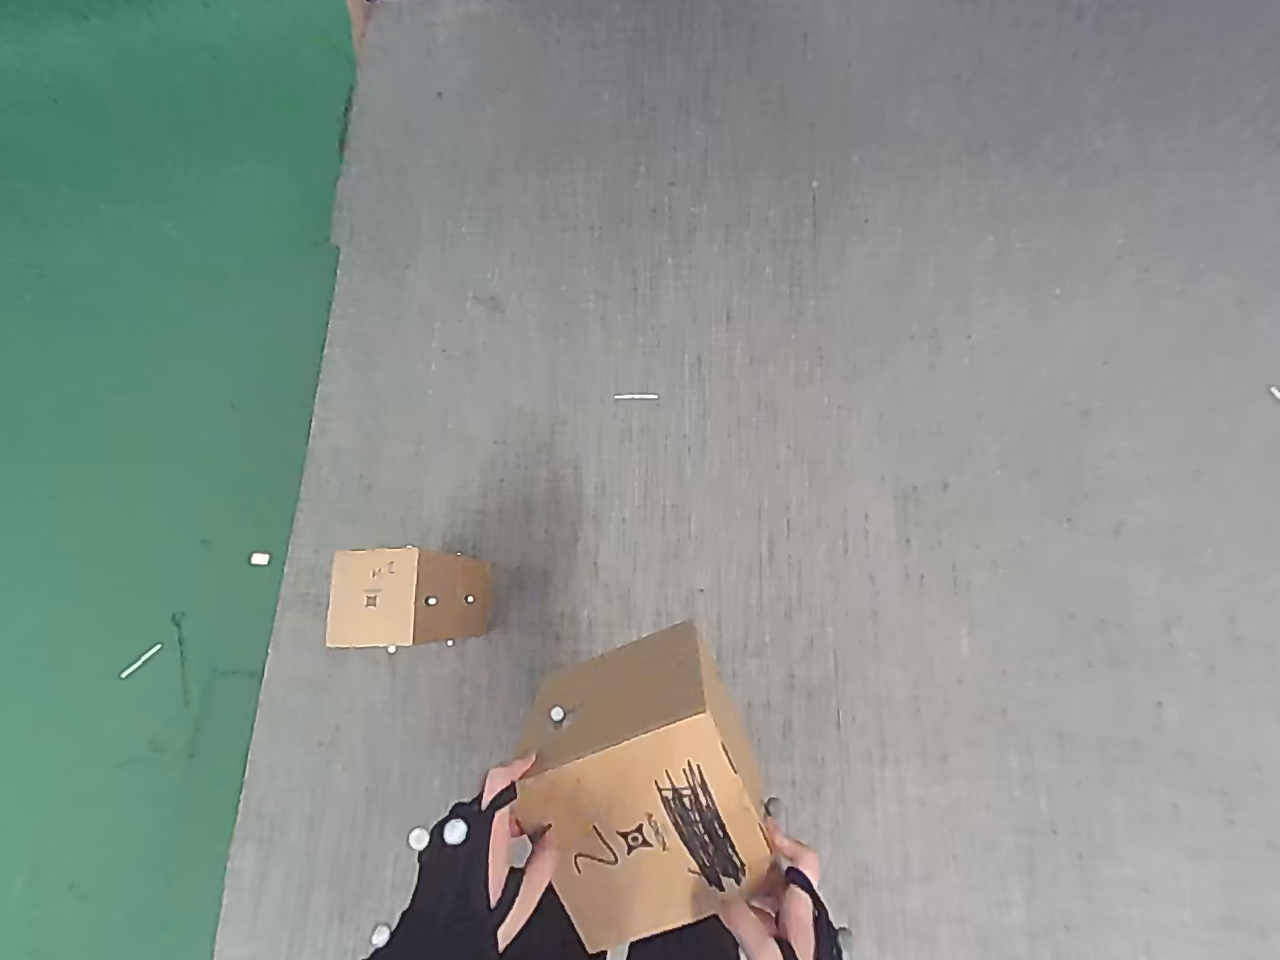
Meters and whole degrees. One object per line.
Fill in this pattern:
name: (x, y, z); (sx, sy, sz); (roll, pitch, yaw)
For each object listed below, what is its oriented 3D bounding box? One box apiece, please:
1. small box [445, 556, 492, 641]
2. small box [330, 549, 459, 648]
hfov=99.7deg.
small box: (-0.446, 0.265, 1.218); (0.168, 0.176, 0.179); (-1, 76, 7)
small box: (-0.470, 0.231, 1.059); (0.168, 0.176, 0.179); (-2, 77, 6)
